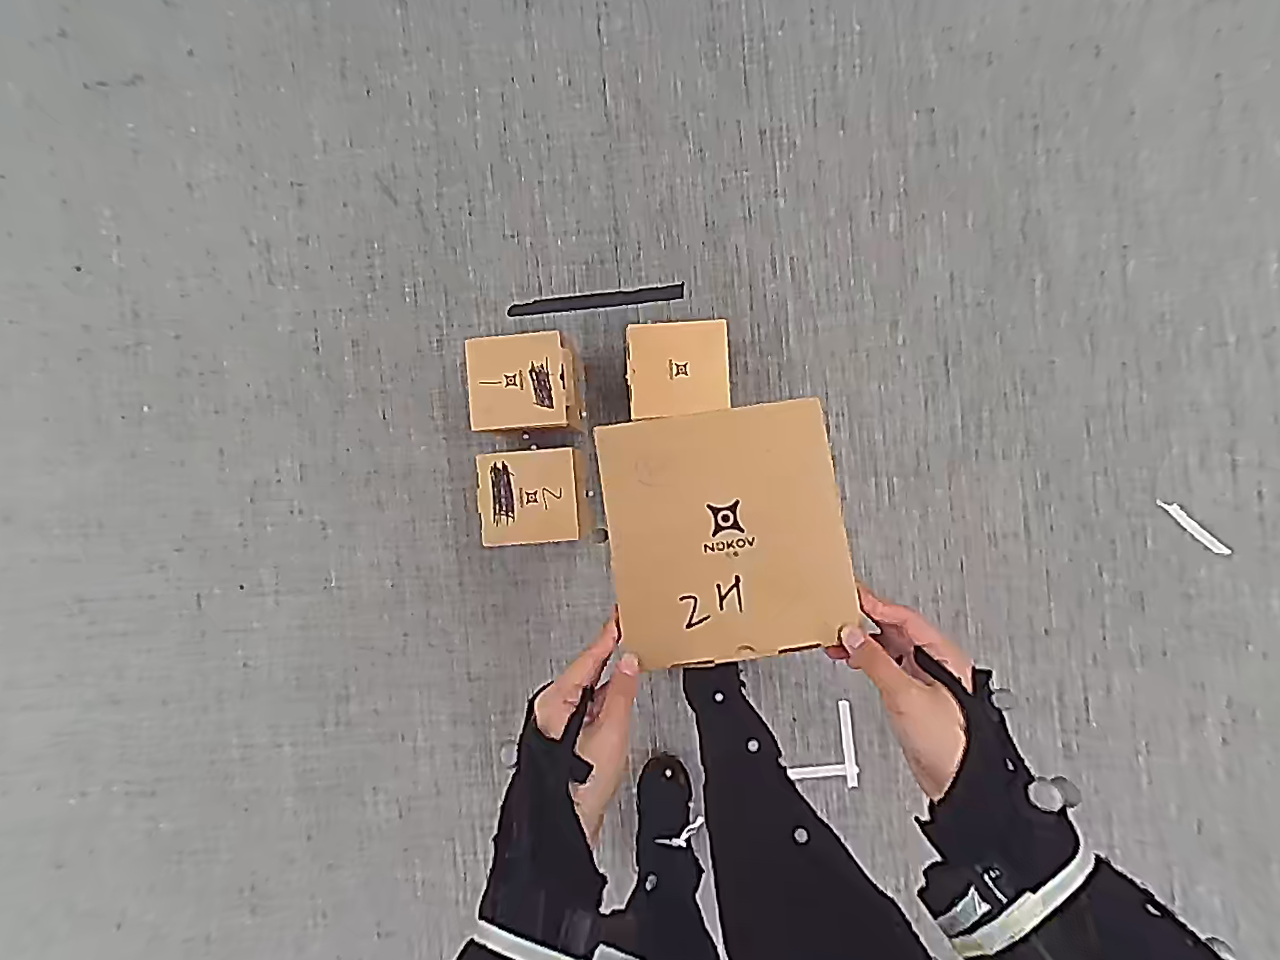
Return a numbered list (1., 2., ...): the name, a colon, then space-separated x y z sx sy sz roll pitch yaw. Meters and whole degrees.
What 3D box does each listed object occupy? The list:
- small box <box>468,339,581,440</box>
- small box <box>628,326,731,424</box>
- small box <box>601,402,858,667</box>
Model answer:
1. small box: -0.211 -0.167 1.039 0.179 0.176 0.168 -4 90 4
2. small box: 0.073 -0.186 1.025 0.179 0.176 0.168 -3 90 3
3. small box: 0.062 0.048 0.467 0.168 0.176 0.179 -8 82 1
